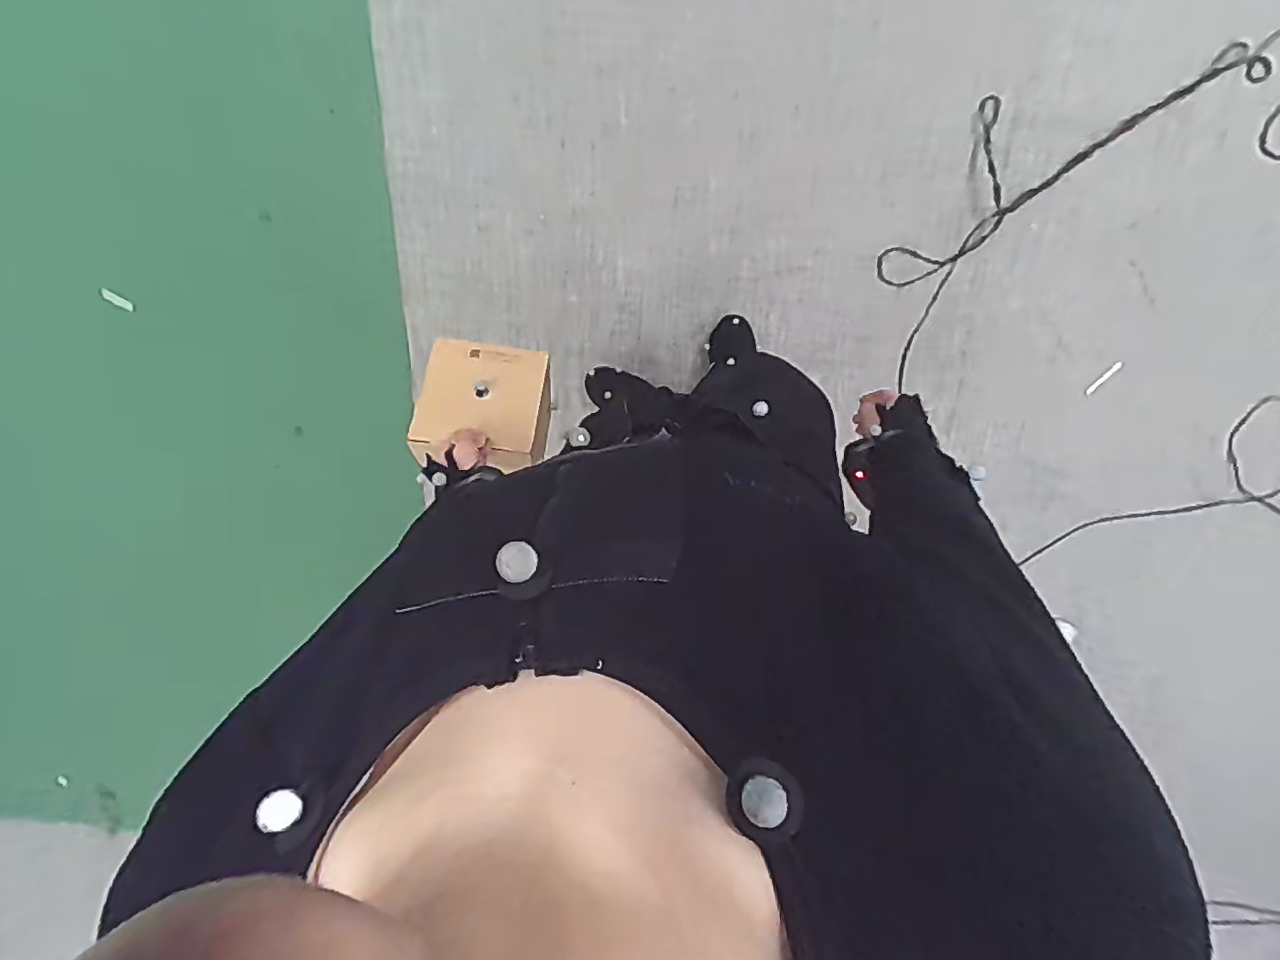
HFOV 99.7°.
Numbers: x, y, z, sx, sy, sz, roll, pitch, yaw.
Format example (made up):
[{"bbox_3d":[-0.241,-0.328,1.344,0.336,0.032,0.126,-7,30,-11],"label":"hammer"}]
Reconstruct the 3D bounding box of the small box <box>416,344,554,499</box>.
[{"bbox_3d":[-0.226,-0.086,0.830,0.168,0.179,0.176,6,66,-5],"label":"small box"}]
